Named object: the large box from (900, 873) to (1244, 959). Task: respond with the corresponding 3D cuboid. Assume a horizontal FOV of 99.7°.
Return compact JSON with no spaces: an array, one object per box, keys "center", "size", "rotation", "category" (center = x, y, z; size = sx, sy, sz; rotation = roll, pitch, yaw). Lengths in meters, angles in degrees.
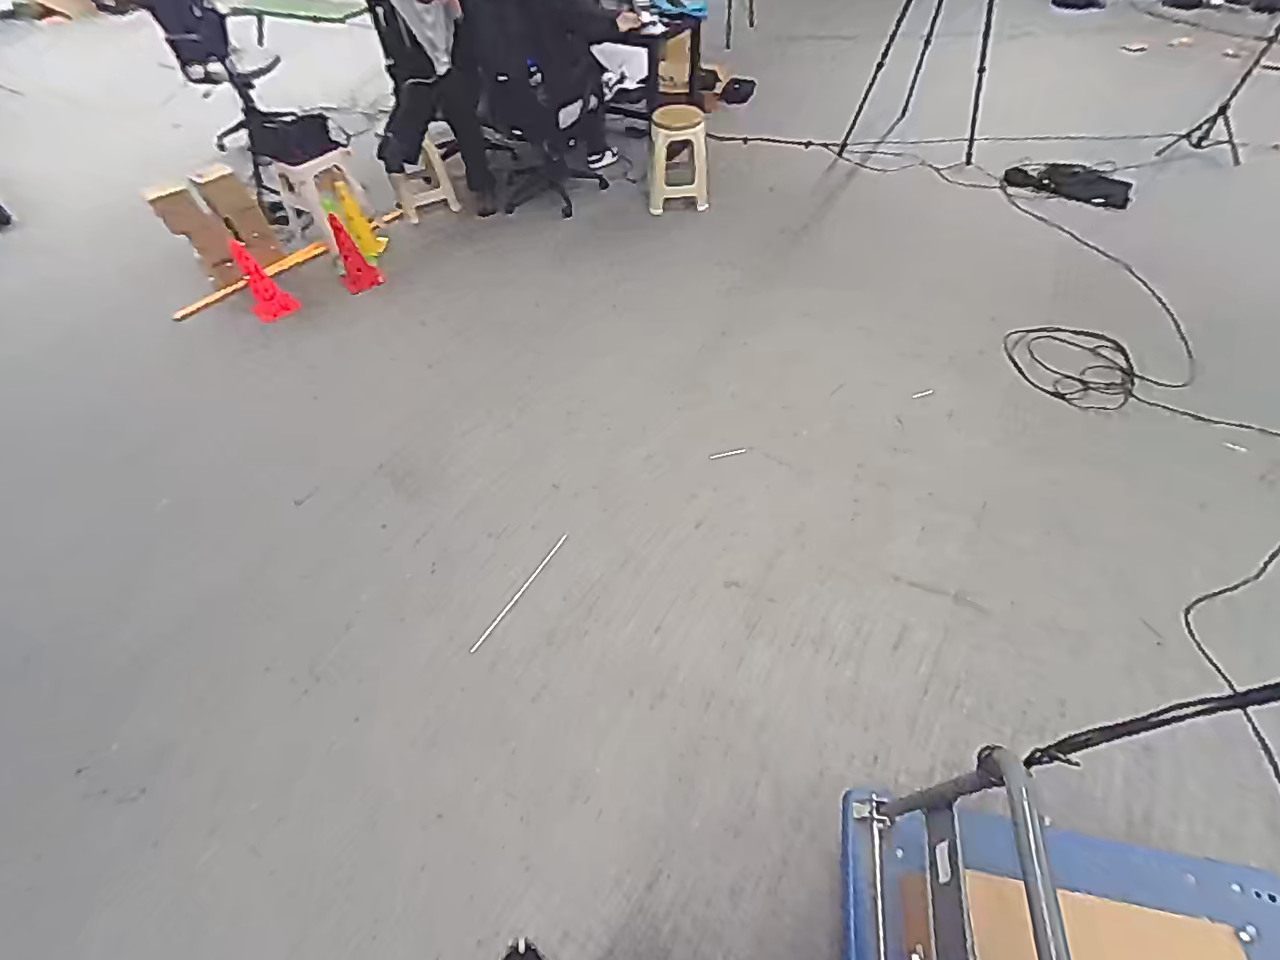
[{"center":[0.701,0.884,0.891],"size":[0.408,0.320,0.320],"rotation":[8,53,8],"category":"large box"}]
